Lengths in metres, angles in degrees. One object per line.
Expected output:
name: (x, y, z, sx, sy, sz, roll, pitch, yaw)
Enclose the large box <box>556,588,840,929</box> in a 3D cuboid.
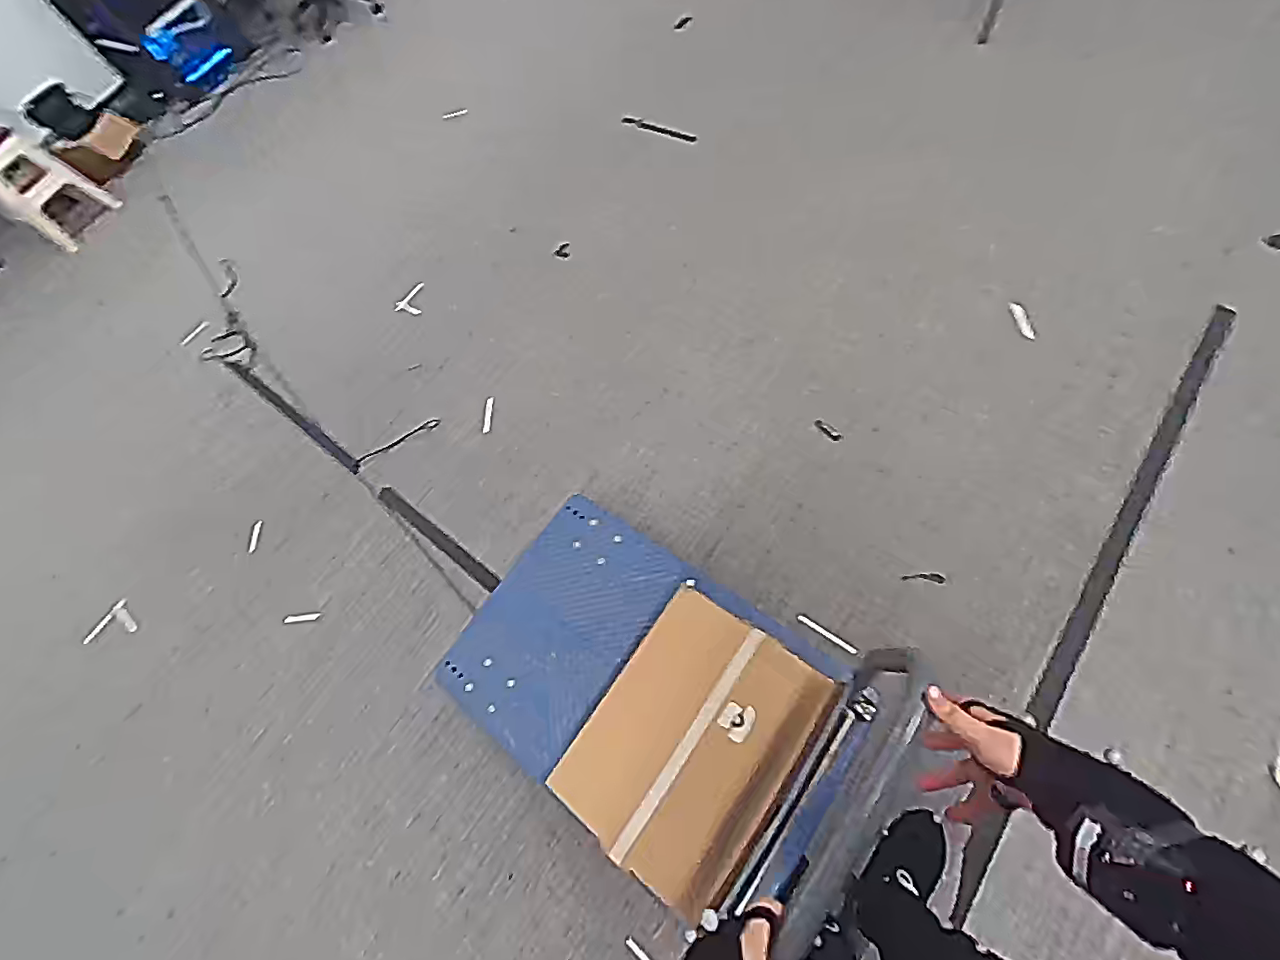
large box: (0.122, 0.484, 1.004, 0.320, 0.320, 0.408, 31, 75, 25)
